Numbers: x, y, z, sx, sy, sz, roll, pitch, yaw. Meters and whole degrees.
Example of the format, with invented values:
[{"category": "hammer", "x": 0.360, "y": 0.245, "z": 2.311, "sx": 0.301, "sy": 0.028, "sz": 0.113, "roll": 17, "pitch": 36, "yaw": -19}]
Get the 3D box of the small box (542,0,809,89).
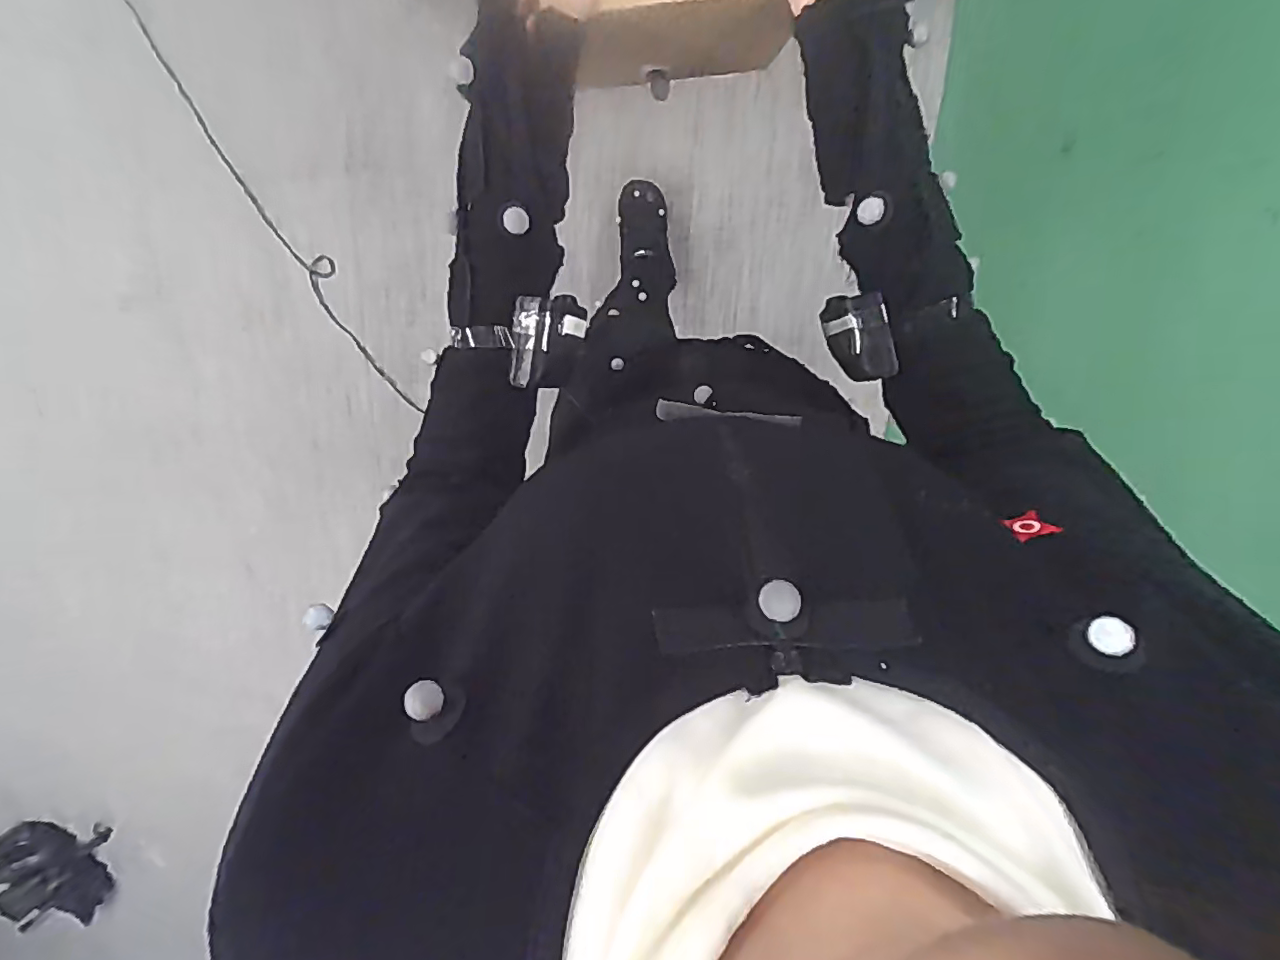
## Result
[{"category": "small box", "x": 0.015, "y": -0.384, "z": 0.346, "sx": 0.168, "sy": 0.176, "sz": 0.179, "roll": -5, "pitch": 113, "yaw": 3}]
